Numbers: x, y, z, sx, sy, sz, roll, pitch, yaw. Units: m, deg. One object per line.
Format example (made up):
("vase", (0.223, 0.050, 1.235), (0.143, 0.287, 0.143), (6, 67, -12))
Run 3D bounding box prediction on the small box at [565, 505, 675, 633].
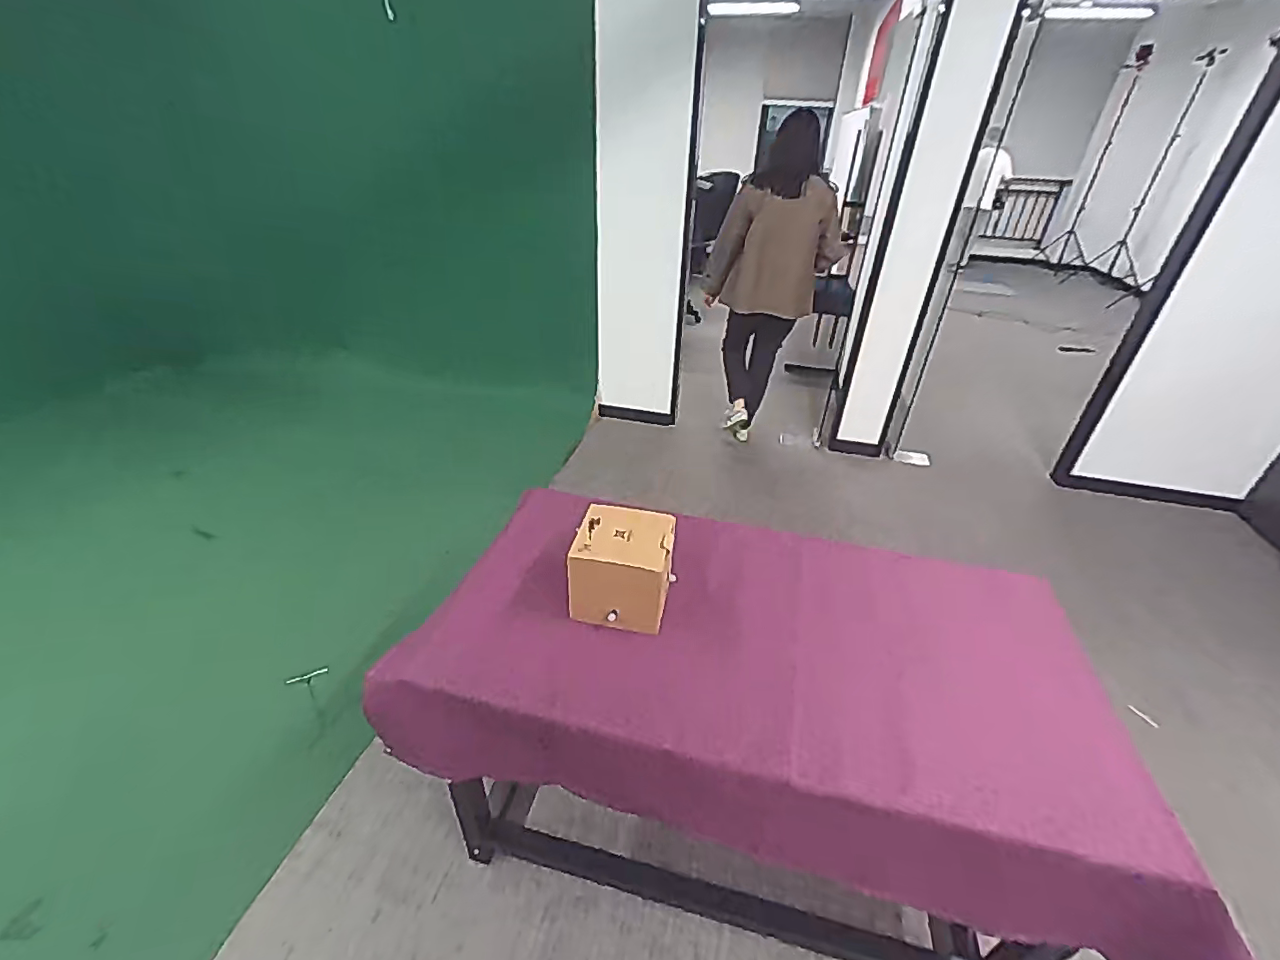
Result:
("small box", (-0.037, 0.175, 1.059), (0.179, 0.176, 0.168), (9, 34, 9))
